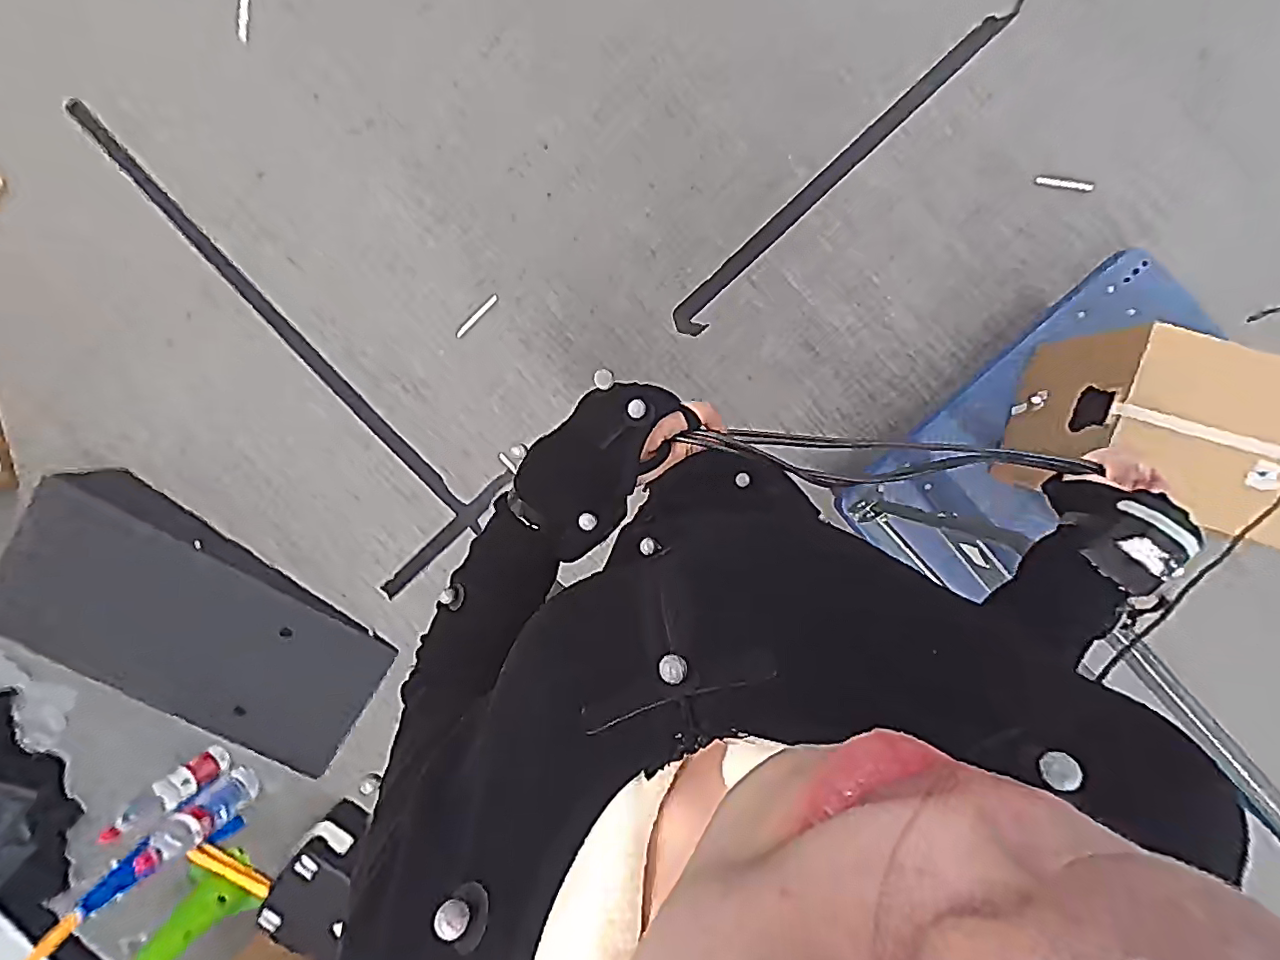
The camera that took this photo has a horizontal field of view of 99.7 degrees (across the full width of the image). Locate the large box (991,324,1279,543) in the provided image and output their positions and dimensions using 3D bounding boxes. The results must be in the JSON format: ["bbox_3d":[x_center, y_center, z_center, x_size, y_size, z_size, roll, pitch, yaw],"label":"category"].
[{"bbox_3d":[1.026,-0.089,1.086,0.408,0.320,0.320,15,97,1],"label":"large box"}]
